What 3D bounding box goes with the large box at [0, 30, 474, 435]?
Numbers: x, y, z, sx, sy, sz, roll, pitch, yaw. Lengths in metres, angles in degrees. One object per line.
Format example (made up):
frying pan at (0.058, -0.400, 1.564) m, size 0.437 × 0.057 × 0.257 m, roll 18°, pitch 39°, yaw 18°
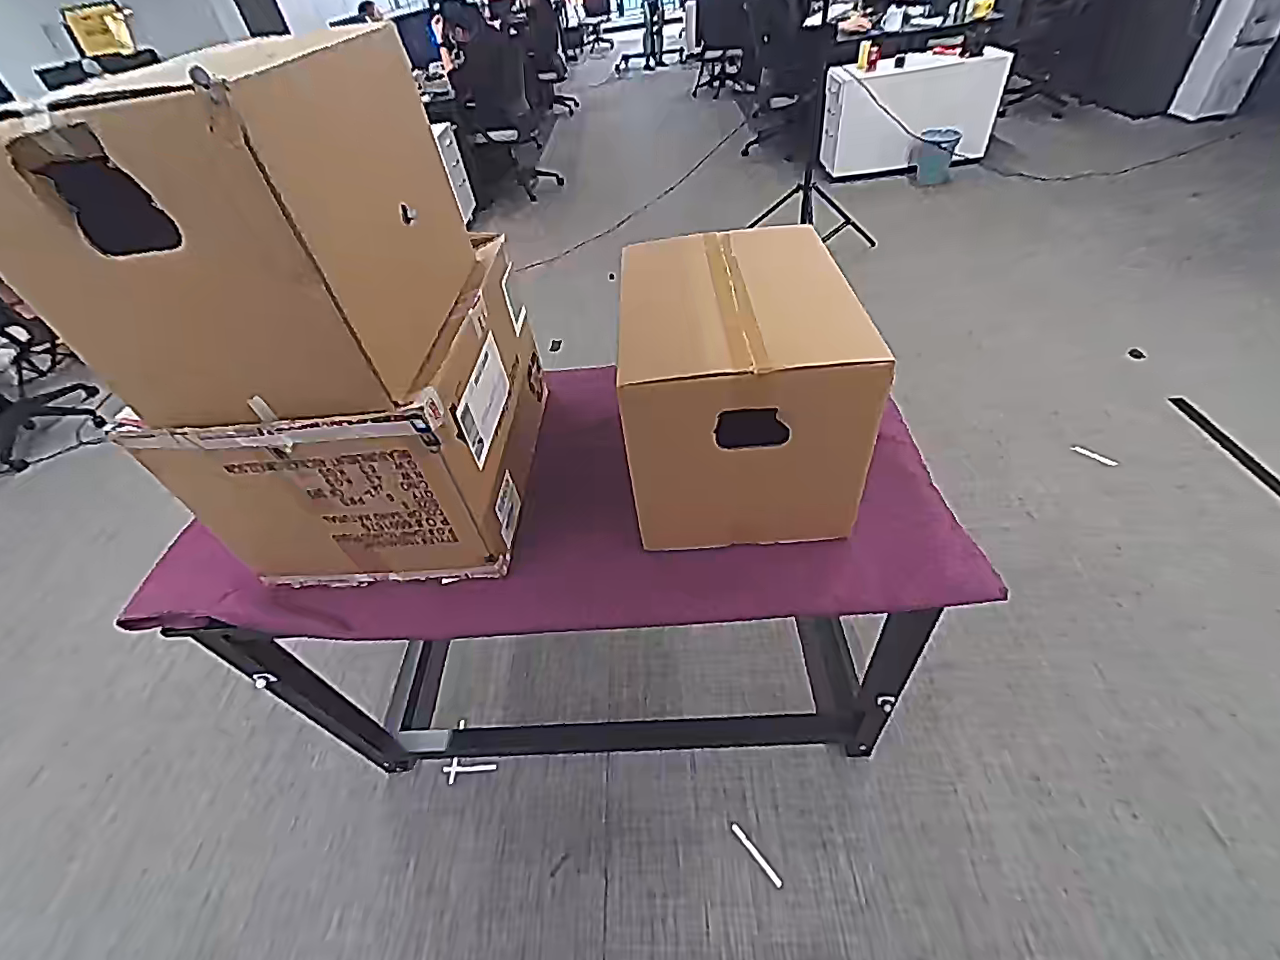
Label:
large box at (-0.433, -0.311, 0.664) m, size 0.320 × 0.320 × 0.408 m, roll -6°, pitch 45°, yaw 5°
